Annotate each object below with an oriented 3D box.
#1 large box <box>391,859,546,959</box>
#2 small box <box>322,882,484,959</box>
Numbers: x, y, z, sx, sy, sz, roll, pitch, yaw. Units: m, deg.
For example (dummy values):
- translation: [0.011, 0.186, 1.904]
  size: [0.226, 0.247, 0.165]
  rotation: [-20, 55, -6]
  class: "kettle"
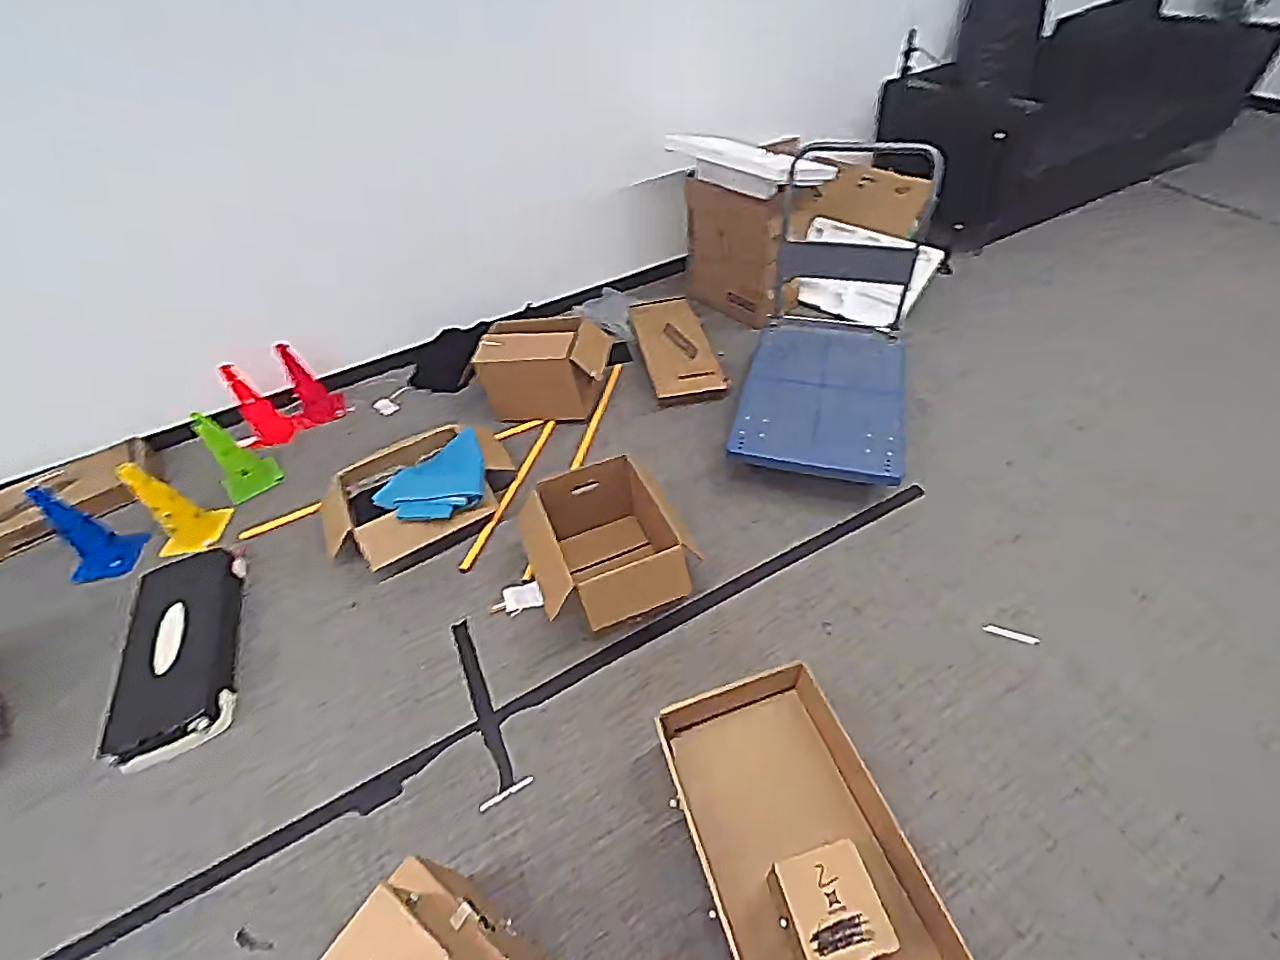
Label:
- translation: [-0.402, 0.989, 0.956]
  size: [0.320, 0.320, 0.408]
  rotation: [24, 55, 27]
  class: "large box"
- translation: [-0.369, 0.765, 0.824]
  size: [0.179, 0.176, 0.168]
  rotation: [24, 55, 26]
  class: "small box"
